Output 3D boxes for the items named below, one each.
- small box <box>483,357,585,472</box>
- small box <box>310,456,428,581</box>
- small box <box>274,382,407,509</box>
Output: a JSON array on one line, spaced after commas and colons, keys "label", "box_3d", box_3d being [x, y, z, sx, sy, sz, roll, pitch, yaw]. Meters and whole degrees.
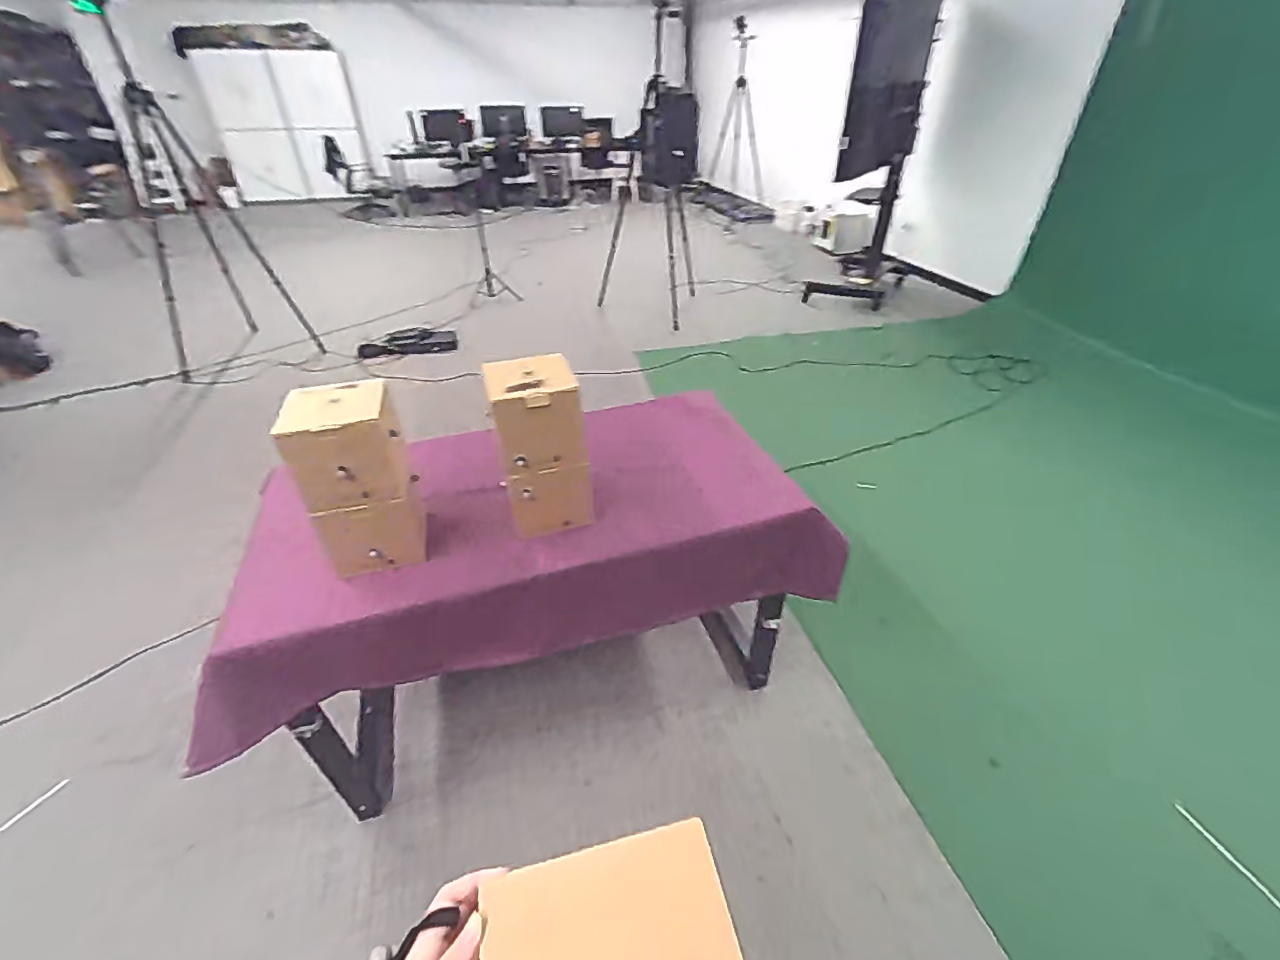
[{"label": "small box", "box_3d": [-0.213, -0.129, 1.094, 0.168, 0.176, 0.179, -12, 36, -15]}, {"label": "small box", "box_3d": [-0.539, 0.075, 1.100, 0.168, 0.176, 0.179, -11, 37, -13]}, {"label": "small box", "box_3d": [-0.542, -0.060, 1.006, 0.168, 0.176, 0.179, -10, 37, -14]}]
